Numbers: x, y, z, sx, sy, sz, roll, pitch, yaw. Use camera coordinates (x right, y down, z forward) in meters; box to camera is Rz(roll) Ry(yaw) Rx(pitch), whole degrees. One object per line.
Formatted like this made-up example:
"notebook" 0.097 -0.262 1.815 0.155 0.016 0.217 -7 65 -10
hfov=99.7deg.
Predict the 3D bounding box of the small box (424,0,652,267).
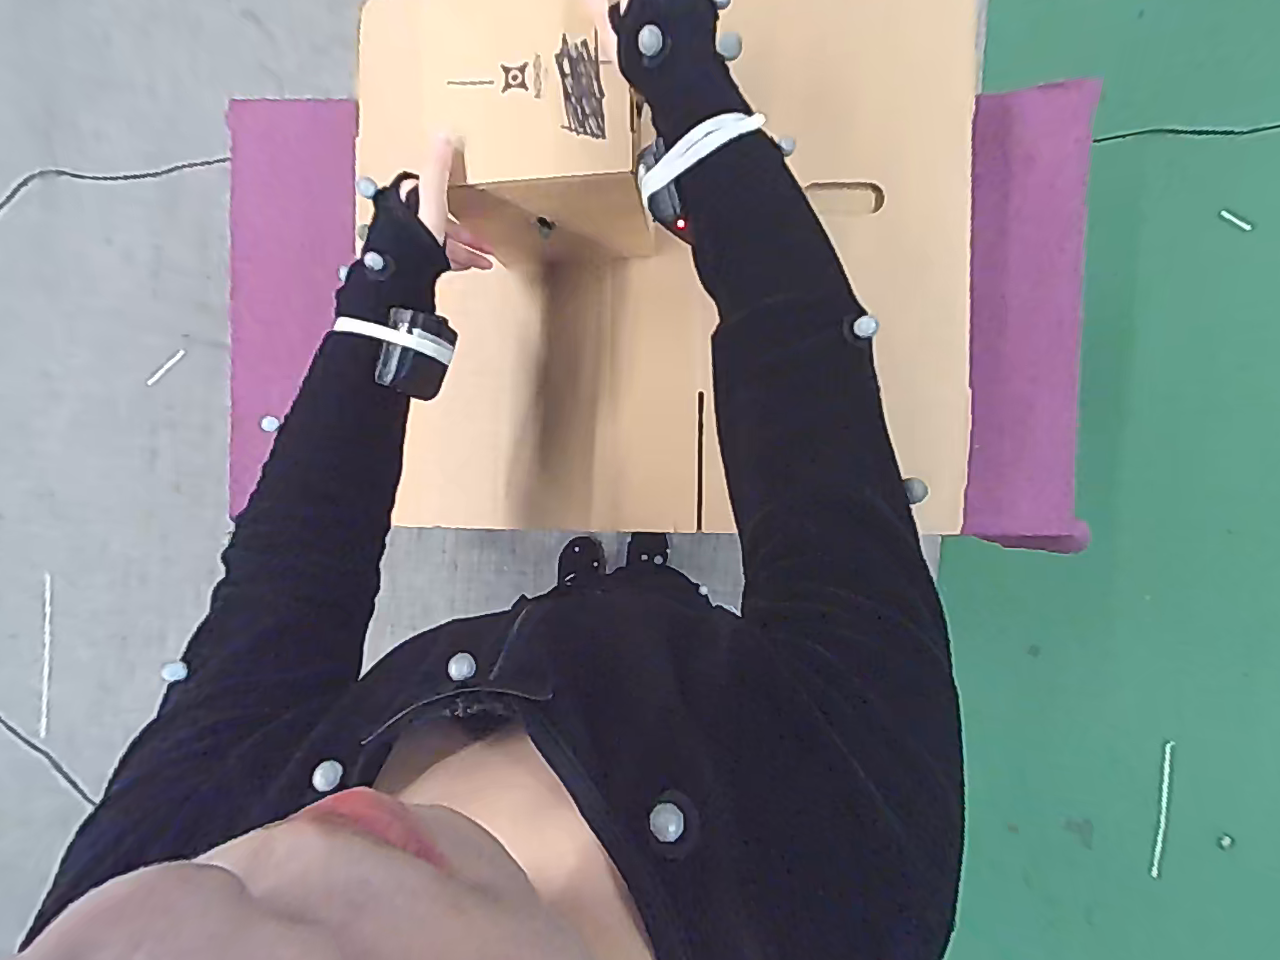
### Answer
"small box" -0.082 -0.319 0.518 0.179 0.176 0.168 -1 91 9
